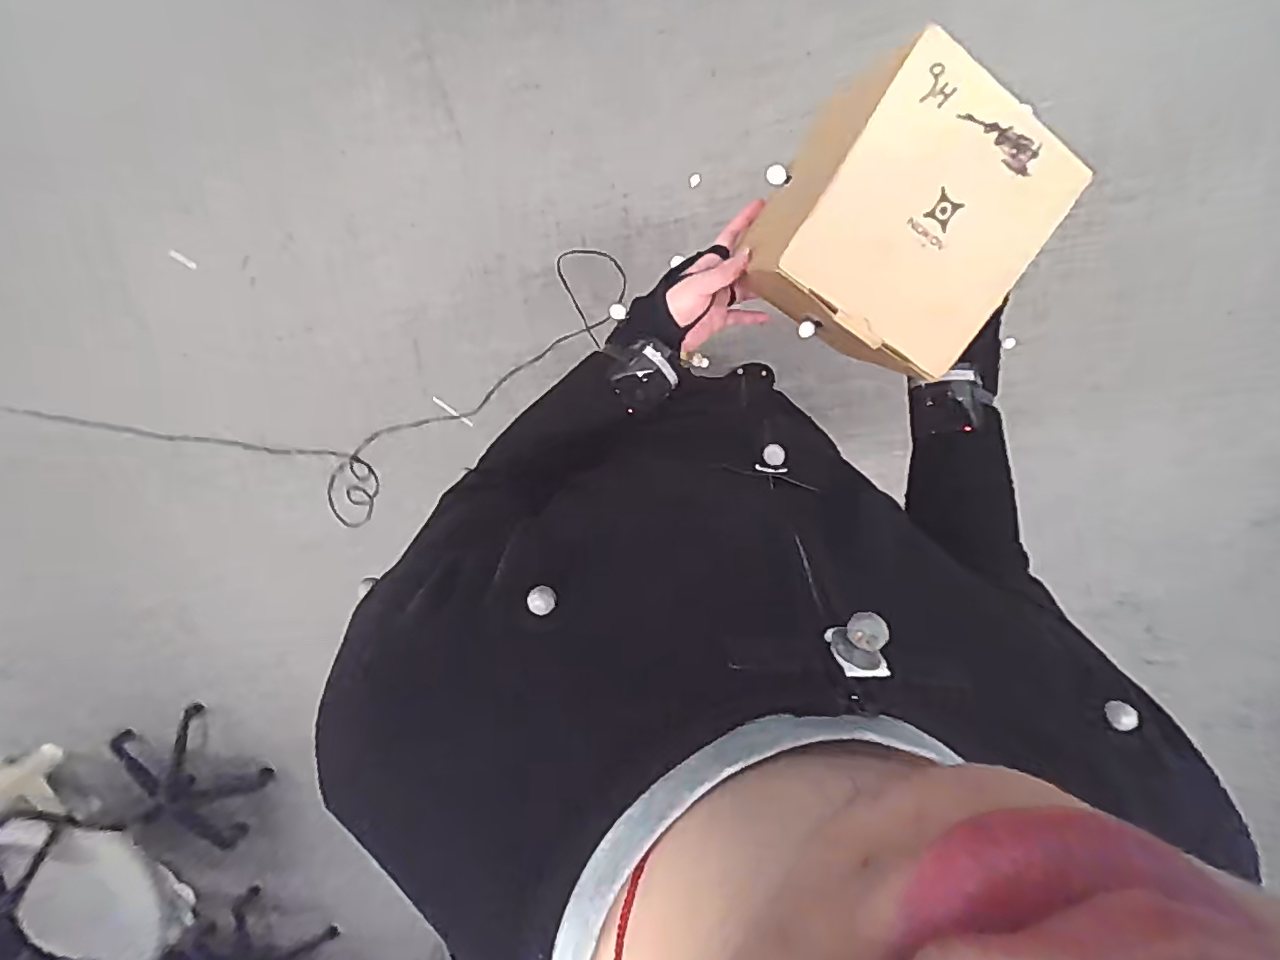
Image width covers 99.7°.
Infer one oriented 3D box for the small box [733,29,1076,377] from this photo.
[{"bbox_3d":[0.198,-0.217,0.469,0.168,0.176,0.179,28,106,-15],"label":"small box"}]
